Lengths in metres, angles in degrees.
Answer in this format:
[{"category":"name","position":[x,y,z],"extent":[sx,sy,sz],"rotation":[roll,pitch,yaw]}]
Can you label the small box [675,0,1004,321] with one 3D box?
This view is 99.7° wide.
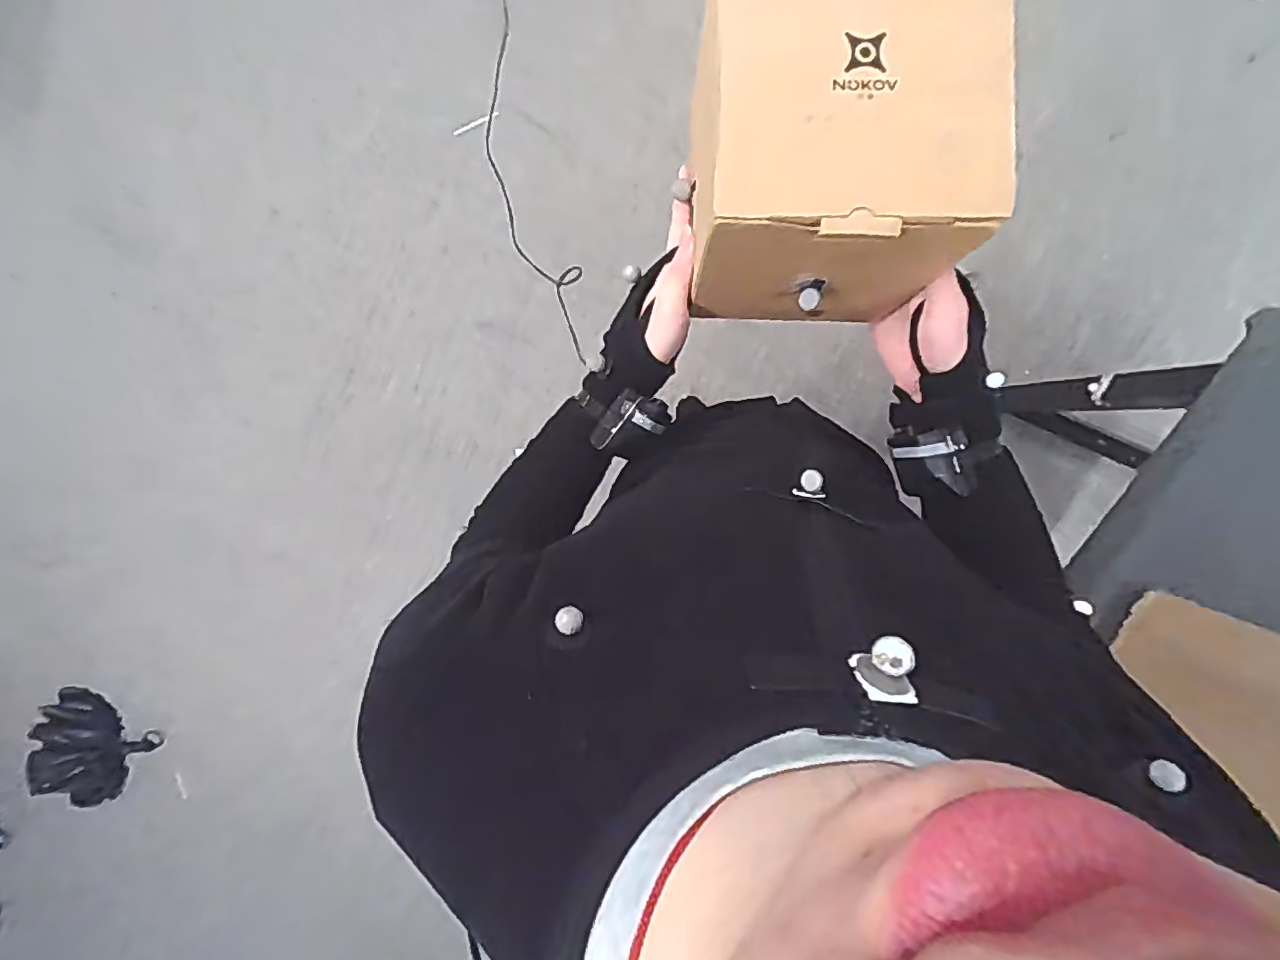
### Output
[{"category":"small box","position":[0.114,-0.219,0.377],"extent":[0.168,0.176,0.179],"rotation":[2,90,-1]}]
